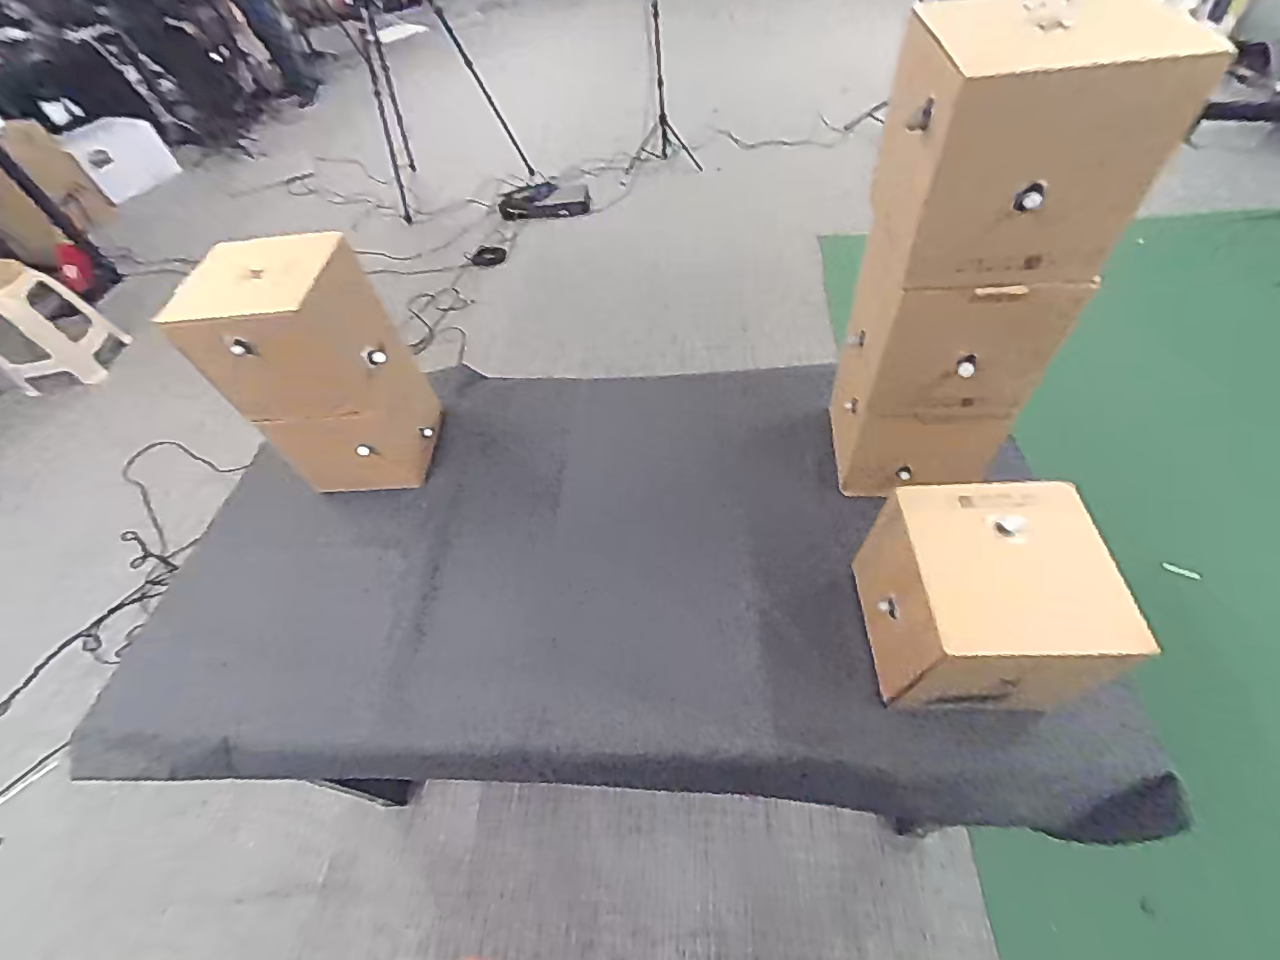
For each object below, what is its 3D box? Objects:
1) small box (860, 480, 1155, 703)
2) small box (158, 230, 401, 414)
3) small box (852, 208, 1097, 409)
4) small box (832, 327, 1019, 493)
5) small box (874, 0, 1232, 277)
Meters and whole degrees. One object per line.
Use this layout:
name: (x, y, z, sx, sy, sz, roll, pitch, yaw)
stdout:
small box: (0.336, 0.116, 0.546, 0.168, 0.179, 0.176, -2, 54, 4)
small box: (-0.451, -0.202, 0.713, 0.179, 0.176, 0.168, -3, 54, 4)
small box: (0.343, -0.194, 0.600, 0.168, 0.176, 0.179, 1, 54, 9)
small box: (0.365, -0.099, 0.733, 0.168, 0.176, 0.179, 1, 54, 9)
small box: (0.318, -0.293, 0.470, 0.168, 0.176, 0.179, 0, 53, 8)
